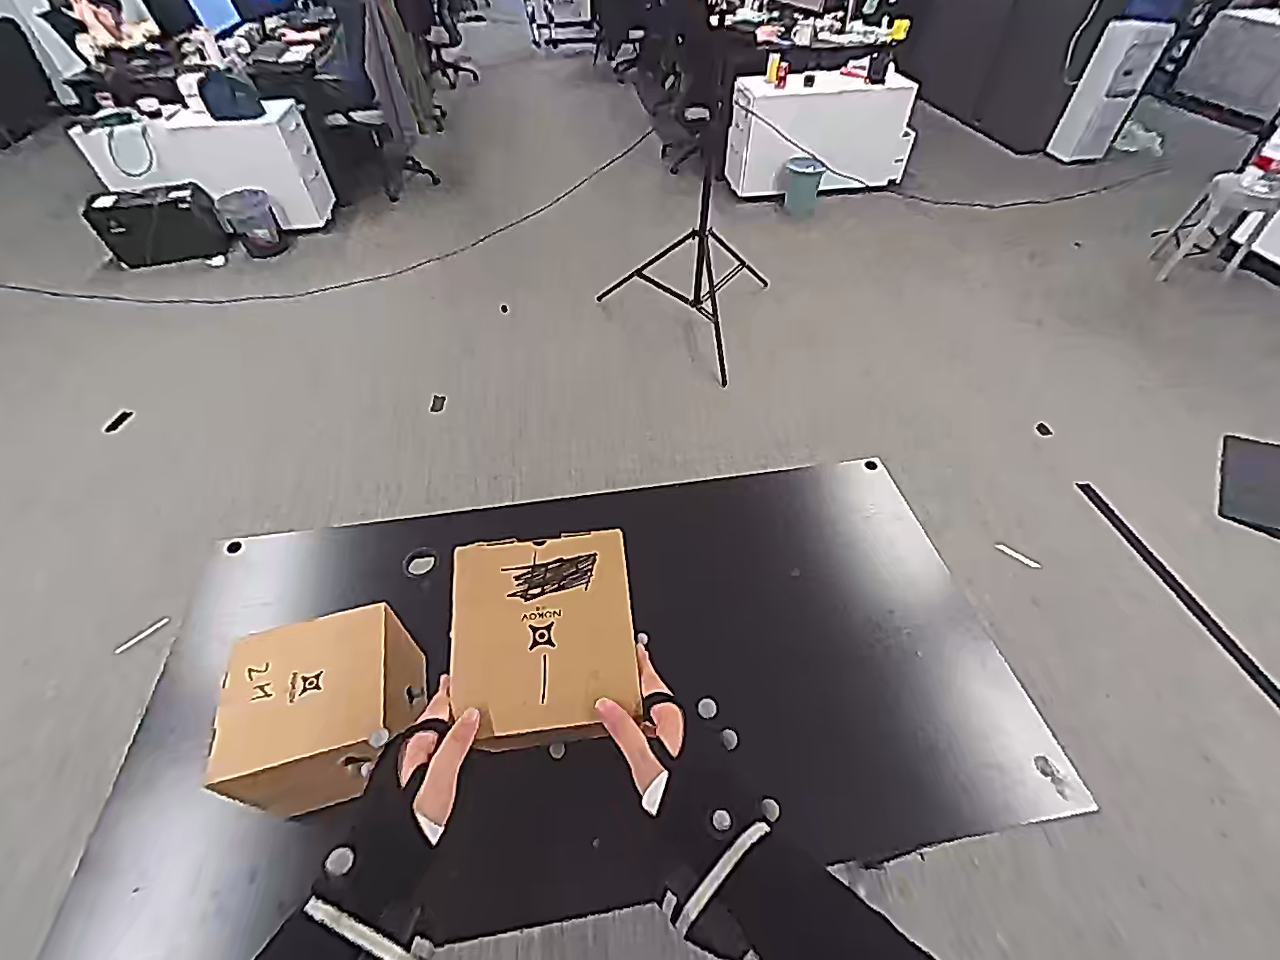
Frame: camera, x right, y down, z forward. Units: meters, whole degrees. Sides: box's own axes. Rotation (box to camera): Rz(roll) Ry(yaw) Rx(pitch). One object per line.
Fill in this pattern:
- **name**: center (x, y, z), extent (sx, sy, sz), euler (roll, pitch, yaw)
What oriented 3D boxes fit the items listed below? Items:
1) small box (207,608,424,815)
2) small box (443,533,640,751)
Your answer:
- **small box**: center (-0.376, 0.288, 0.670), extent (0.179, 0.176, 0.168), euler (-13, 50, -10)
- **small box**: center (-0.092, 0.173, 0.560), extent (0.168, 0.176, 0.179), euler (-6, 63, -4)
